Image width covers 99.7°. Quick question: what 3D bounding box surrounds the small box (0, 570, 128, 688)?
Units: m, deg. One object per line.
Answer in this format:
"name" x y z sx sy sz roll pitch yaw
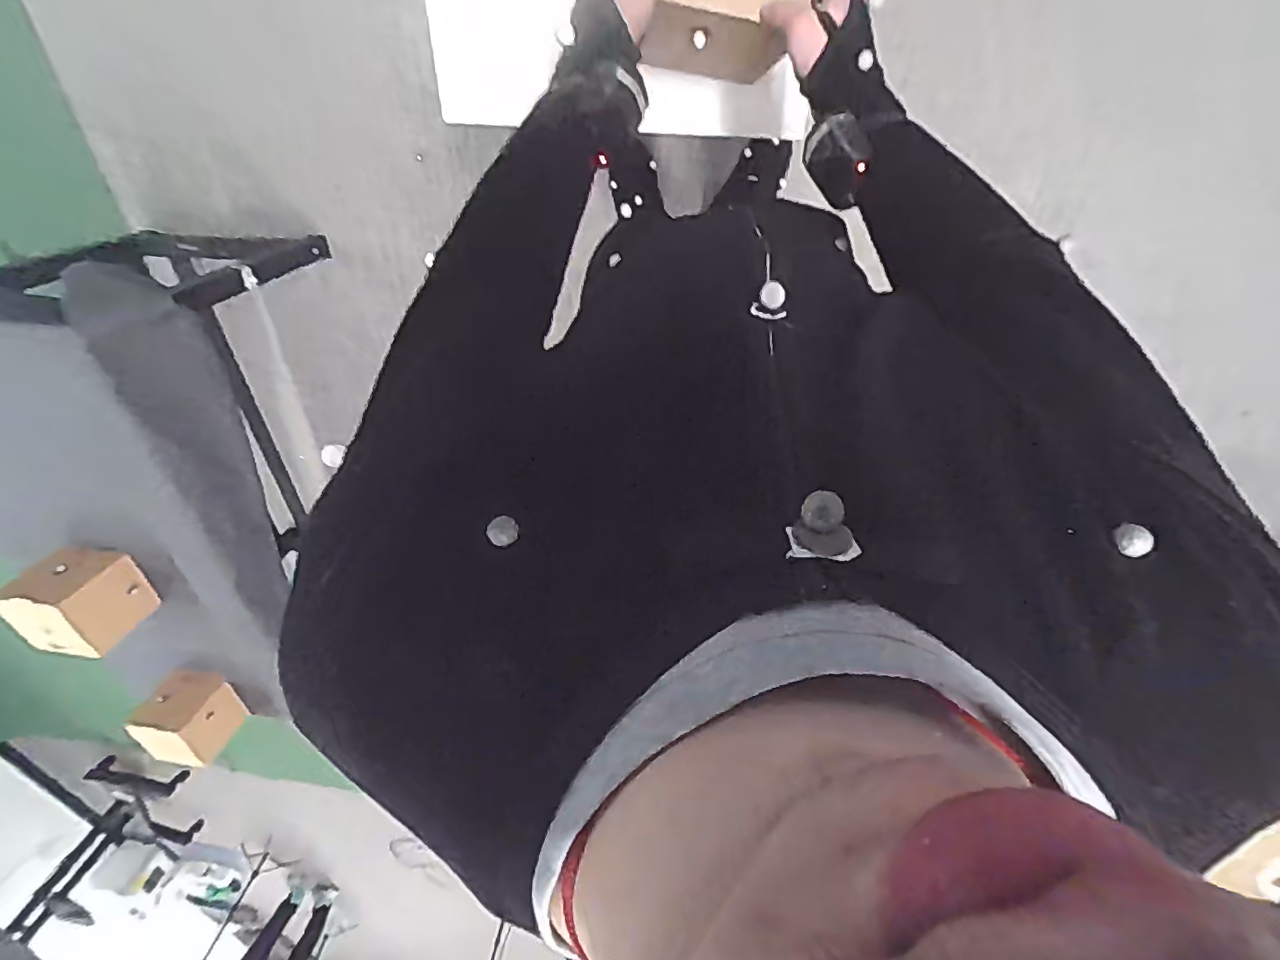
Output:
"small box" -1.277 0.314 1.158 0.168 0.176 0.179 5 125 3

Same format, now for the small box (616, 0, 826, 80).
"small box" 0.077 -0.524 0.528 0.179 0.176 0.168 2 110 -13

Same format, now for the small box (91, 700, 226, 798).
"small box" -1.262 0.709 1.434 0.168 0.176 0.179 4 126 5
